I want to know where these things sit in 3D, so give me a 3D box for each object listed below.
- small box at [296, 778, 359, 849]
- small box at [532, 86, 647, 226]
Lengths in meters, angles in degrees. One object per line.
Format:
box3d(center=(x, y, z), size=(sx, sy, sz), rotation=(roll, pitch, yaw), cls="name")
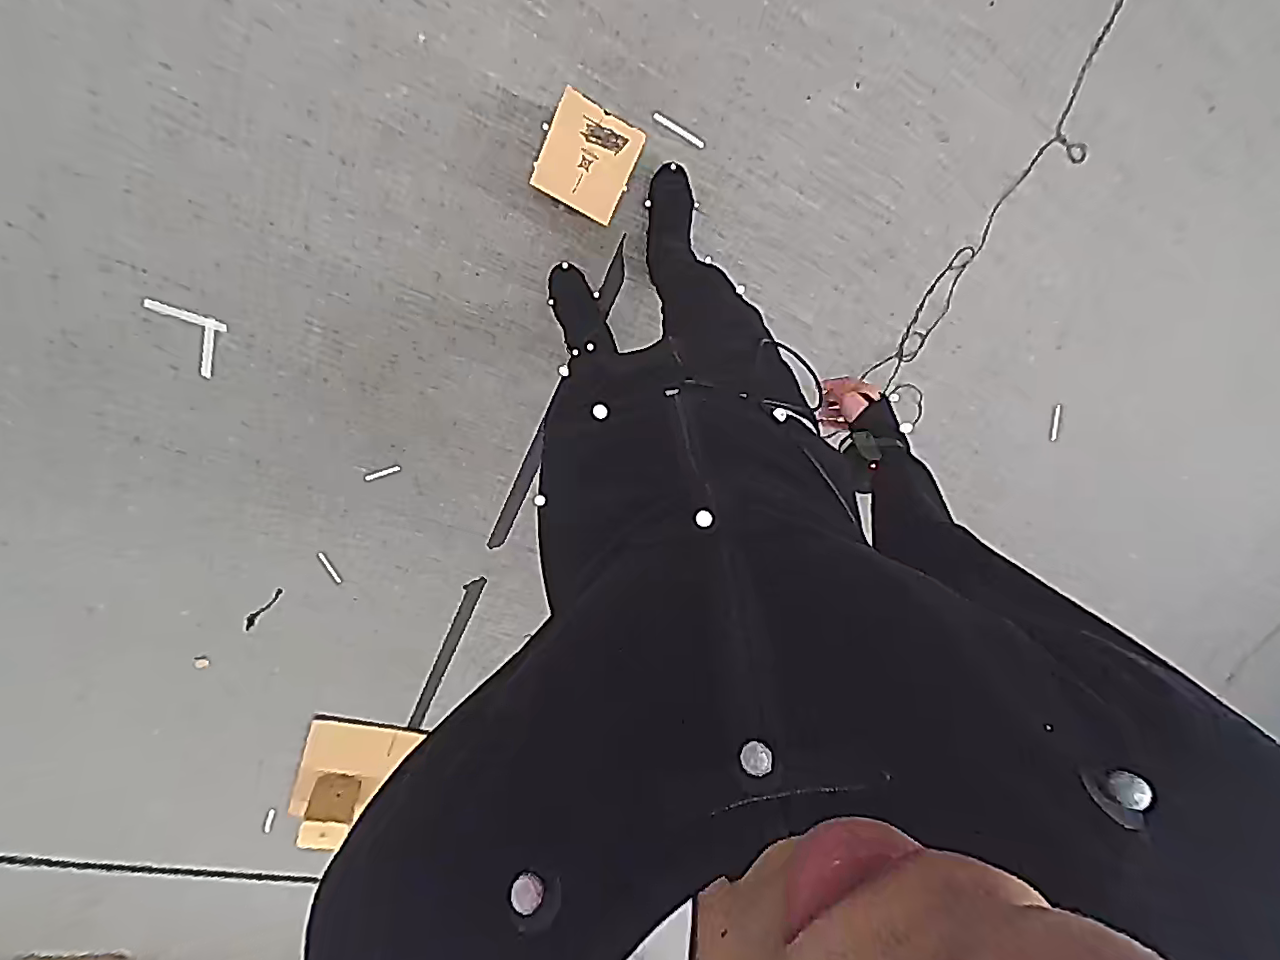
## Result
box3d(center=(-1.220, 1.307, 2.118), size=(0.168, 0.176, 0.179), rotation=(15, 114, -18), cls="small box")
box3d(center=(-0.108, -0.637, 1.079), size=(0.168, 0.176, 0.179), rotation=(22, 113, -20), cls="small box")
